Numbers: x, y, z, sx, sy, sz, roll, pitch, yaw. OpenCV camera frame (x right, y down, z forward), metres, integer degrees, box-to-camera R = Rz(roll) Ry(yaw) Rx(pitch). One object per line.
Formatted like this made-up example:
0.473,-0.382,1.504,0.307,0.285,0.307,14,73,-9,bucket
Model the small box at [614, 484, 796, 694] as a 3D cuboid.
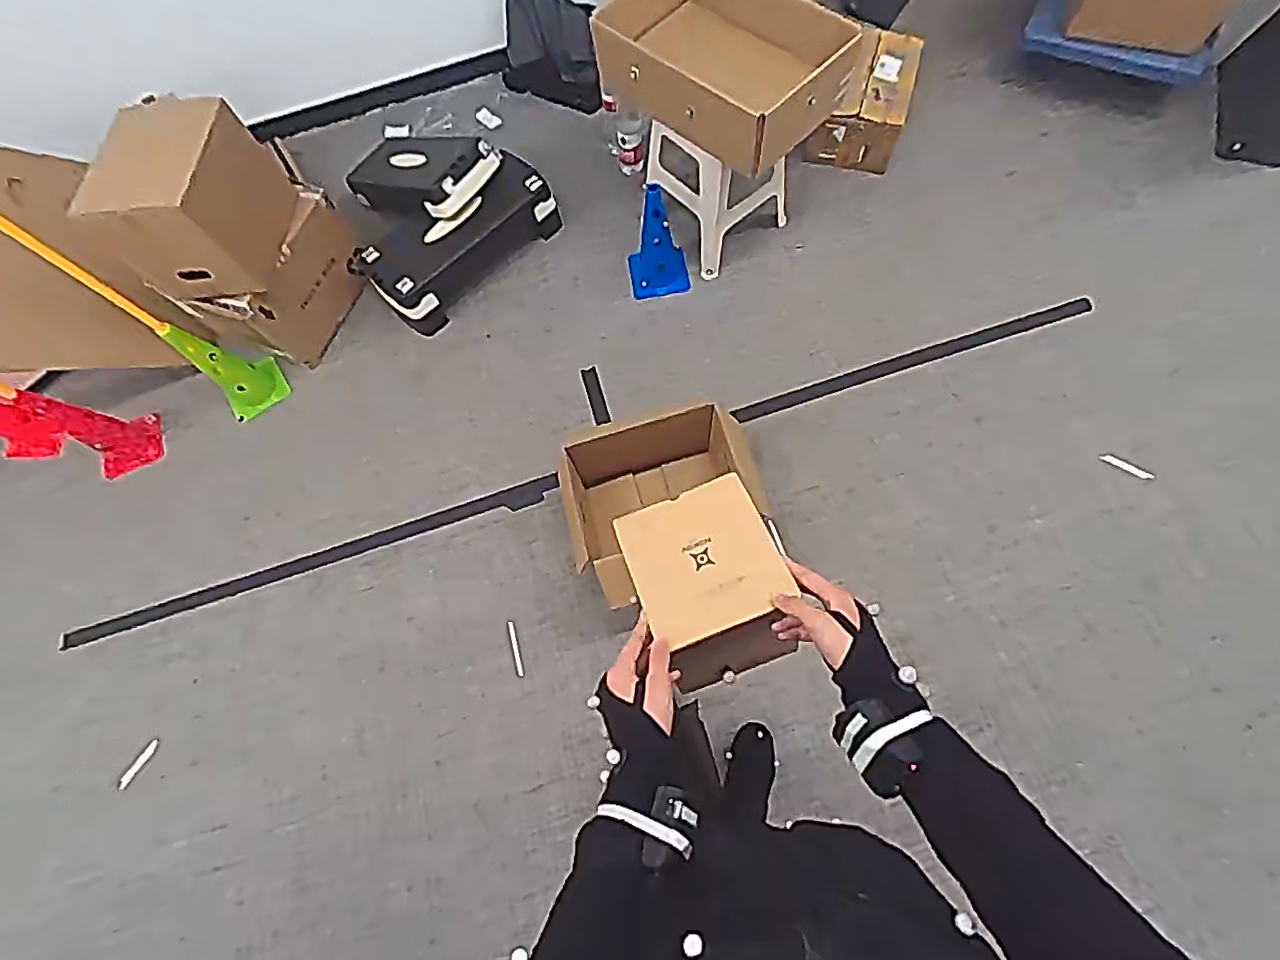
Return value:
0.082,0.142,0.689,0.168,0.176,0.179,-22,51,-2,small box
